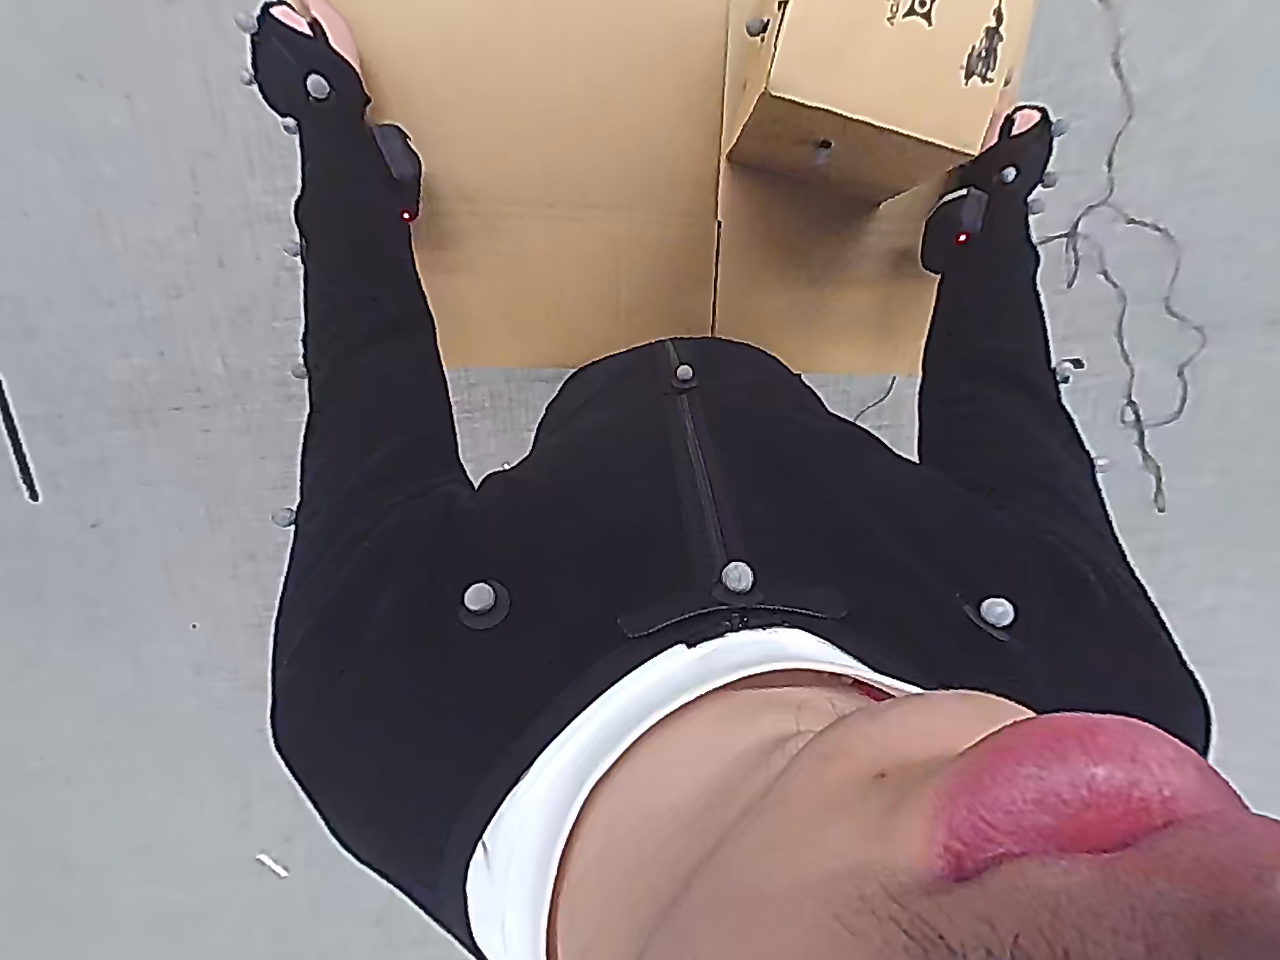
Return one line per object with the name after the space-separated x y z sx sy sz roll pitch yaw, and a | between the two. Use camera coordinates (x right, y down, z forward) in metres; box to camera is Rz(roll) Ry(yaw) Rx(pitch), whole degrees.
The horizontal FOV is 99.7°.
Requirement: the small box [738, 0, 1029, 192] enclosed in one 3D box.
0.197 -0.373 0.472 0.179 0.176 0.168 14 106 -3 | small box
